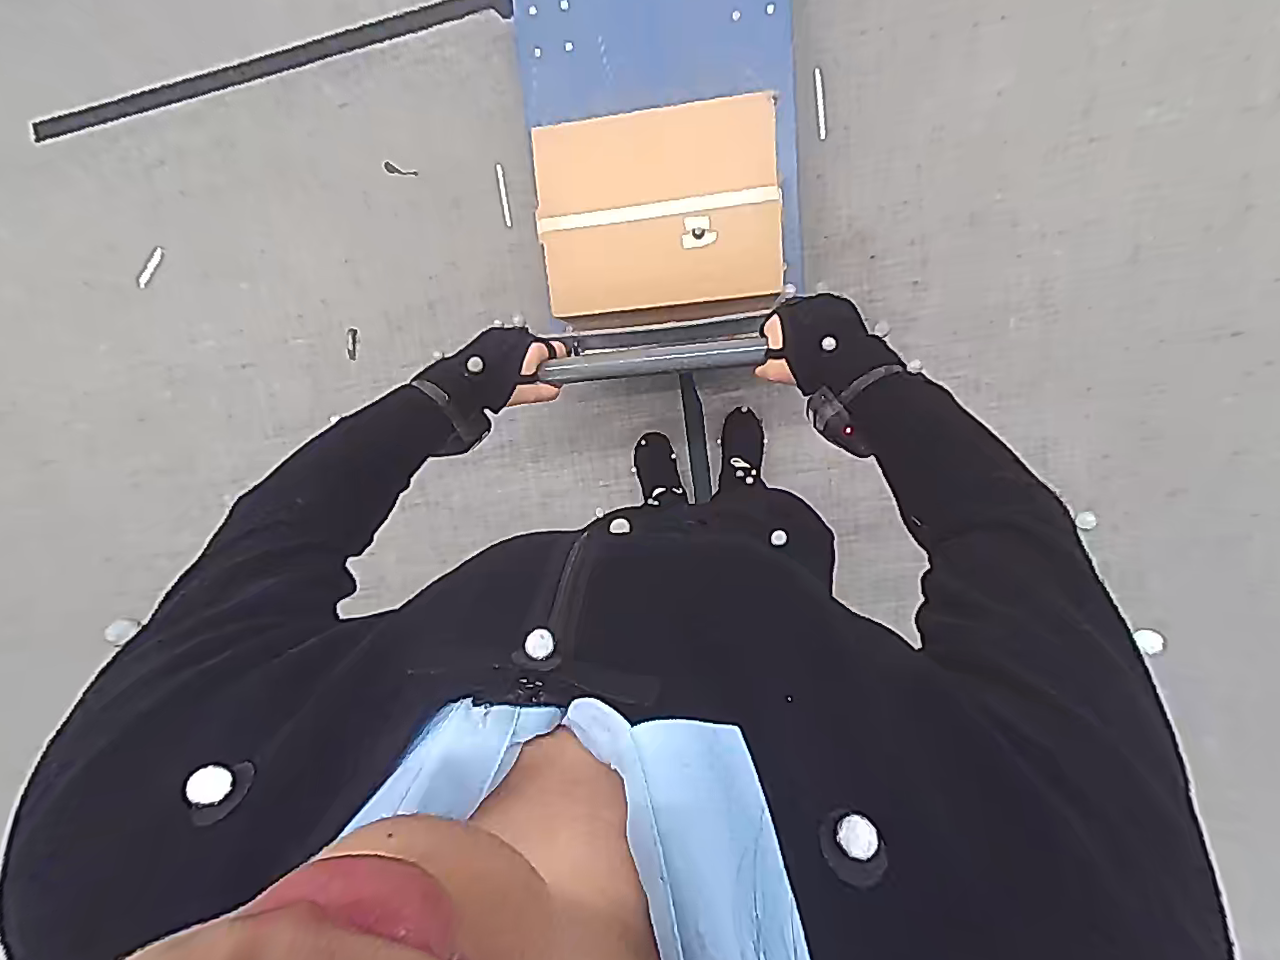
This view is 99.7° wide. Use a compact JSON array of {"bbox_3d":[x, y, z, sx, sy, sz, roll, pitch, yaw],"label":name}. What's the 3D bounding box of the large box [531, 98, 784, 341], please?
[{"bbox_3d":[0.043,-0.460,1.044,0.408,0.320,0.320,-4,100,7],"label":"large box"}]
